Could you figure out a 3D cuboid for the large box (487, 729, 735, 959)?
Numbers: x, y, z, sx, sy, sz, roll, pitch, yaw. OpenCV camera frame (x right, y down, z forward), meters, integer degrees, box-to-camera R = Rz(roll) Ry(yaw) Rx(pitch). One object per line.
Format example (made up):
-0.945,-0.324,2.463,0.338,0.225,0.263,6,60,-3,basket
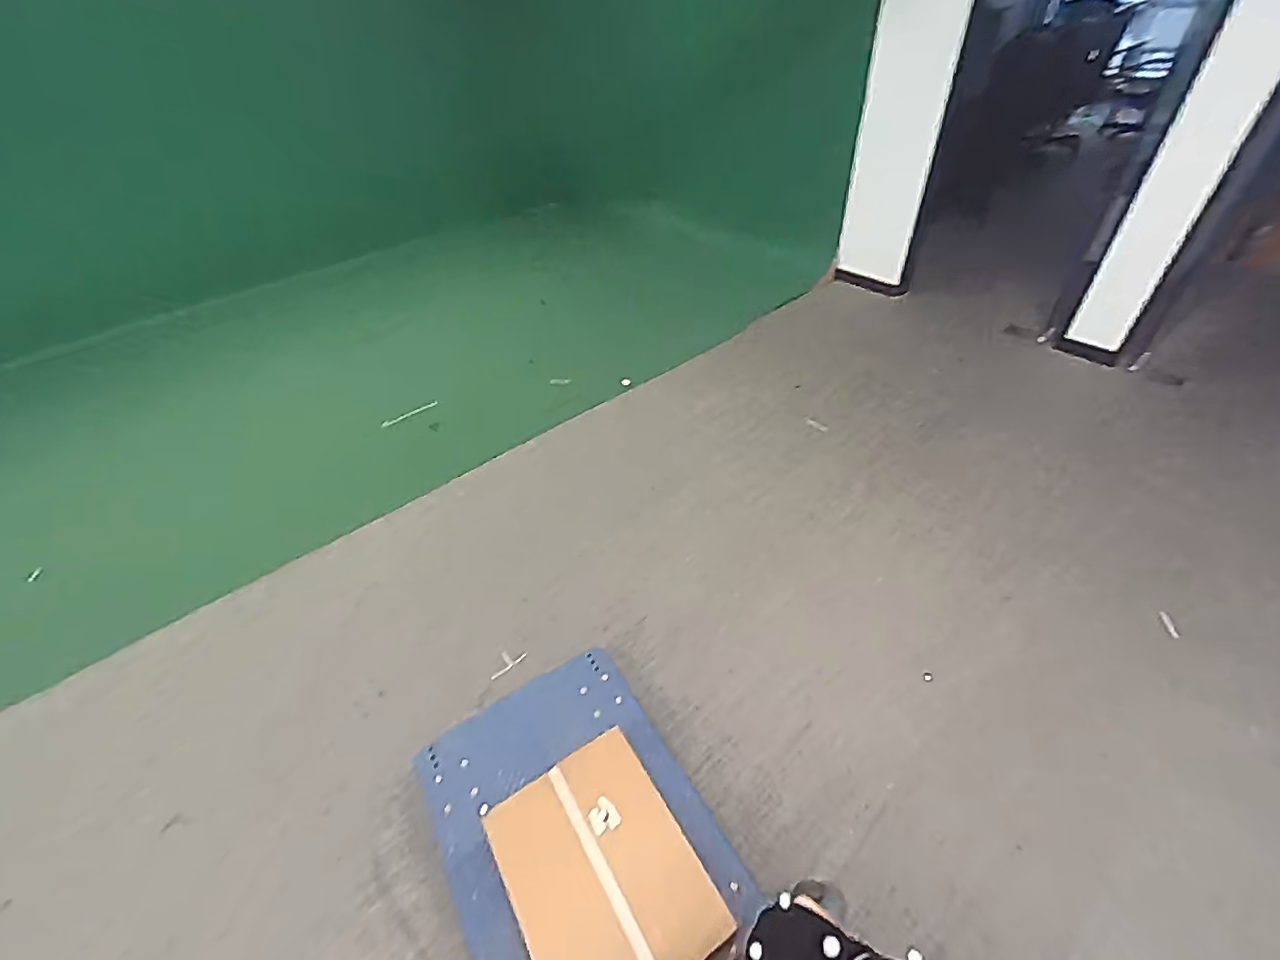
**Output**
-0.055,0.813,1.088,0.320,0.320,0.408,-26,46,-20,large box
